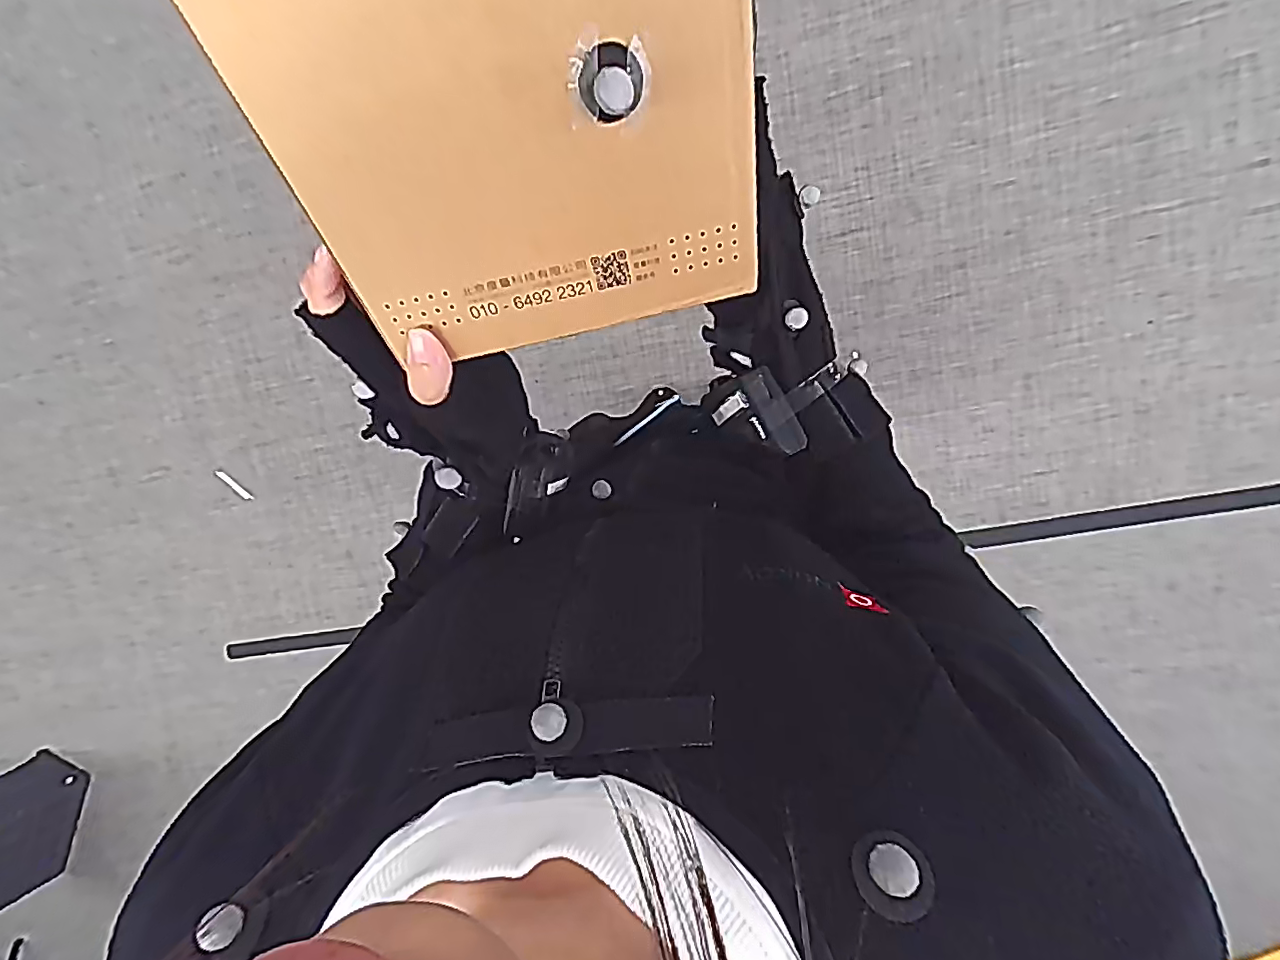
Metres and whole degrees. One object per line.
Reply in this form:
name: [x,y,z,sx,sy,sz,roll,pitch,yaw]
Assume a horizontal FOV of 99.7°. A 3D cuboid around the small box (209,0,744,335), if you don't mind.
small box: [-0.049,-0.187,0.260,0.168,0.179,0.176,-11,138,4]
